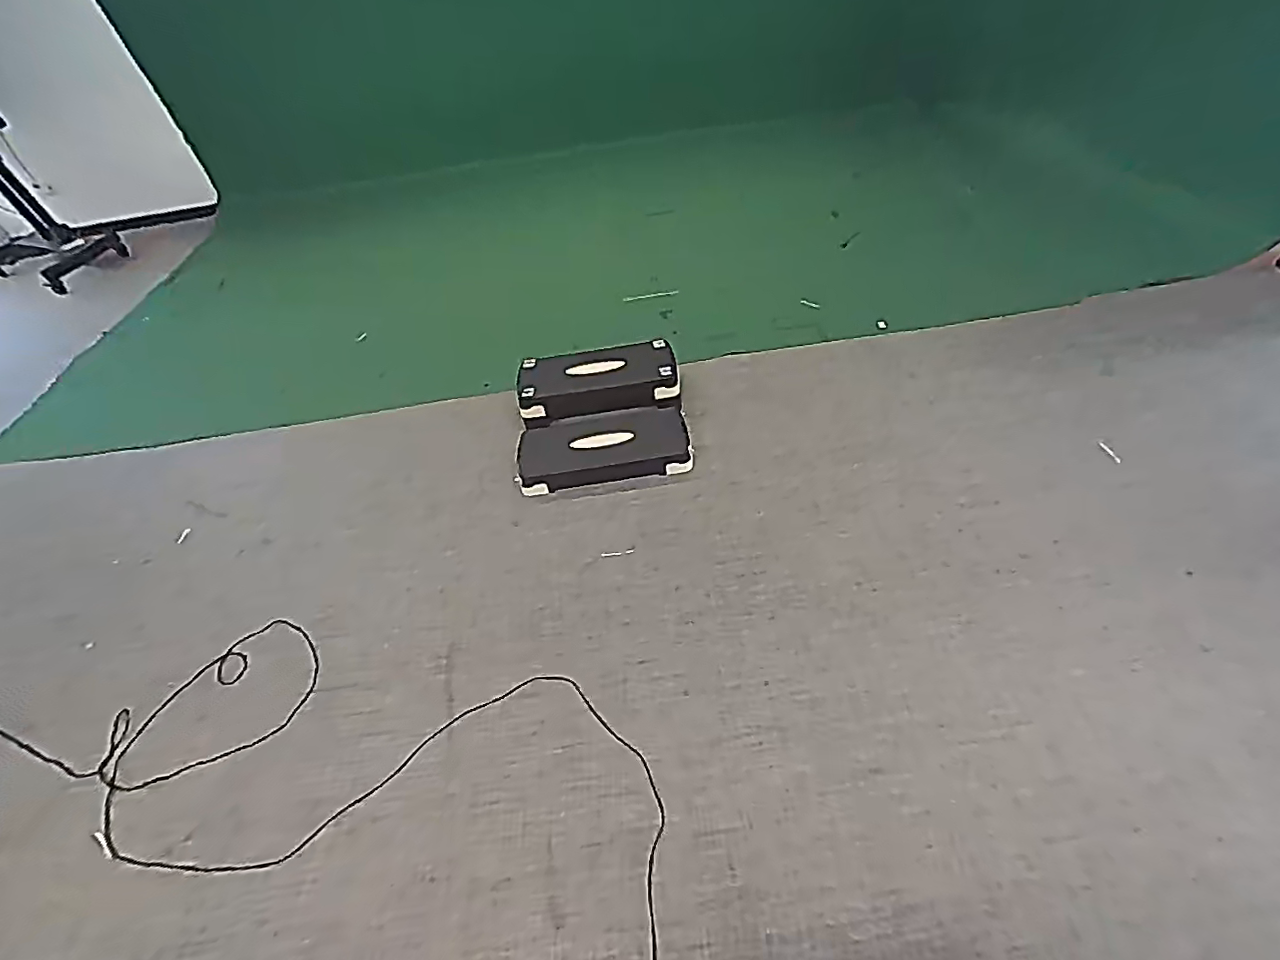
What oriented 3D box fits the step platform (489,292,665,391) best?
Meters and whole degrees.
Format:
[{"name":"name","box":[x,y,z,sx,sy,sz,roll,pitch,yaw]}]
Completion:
[{"name":"step platform","box":[-0.241,-0.554,2.167,0.684,0.204,0.286,-9,48,1]}]
